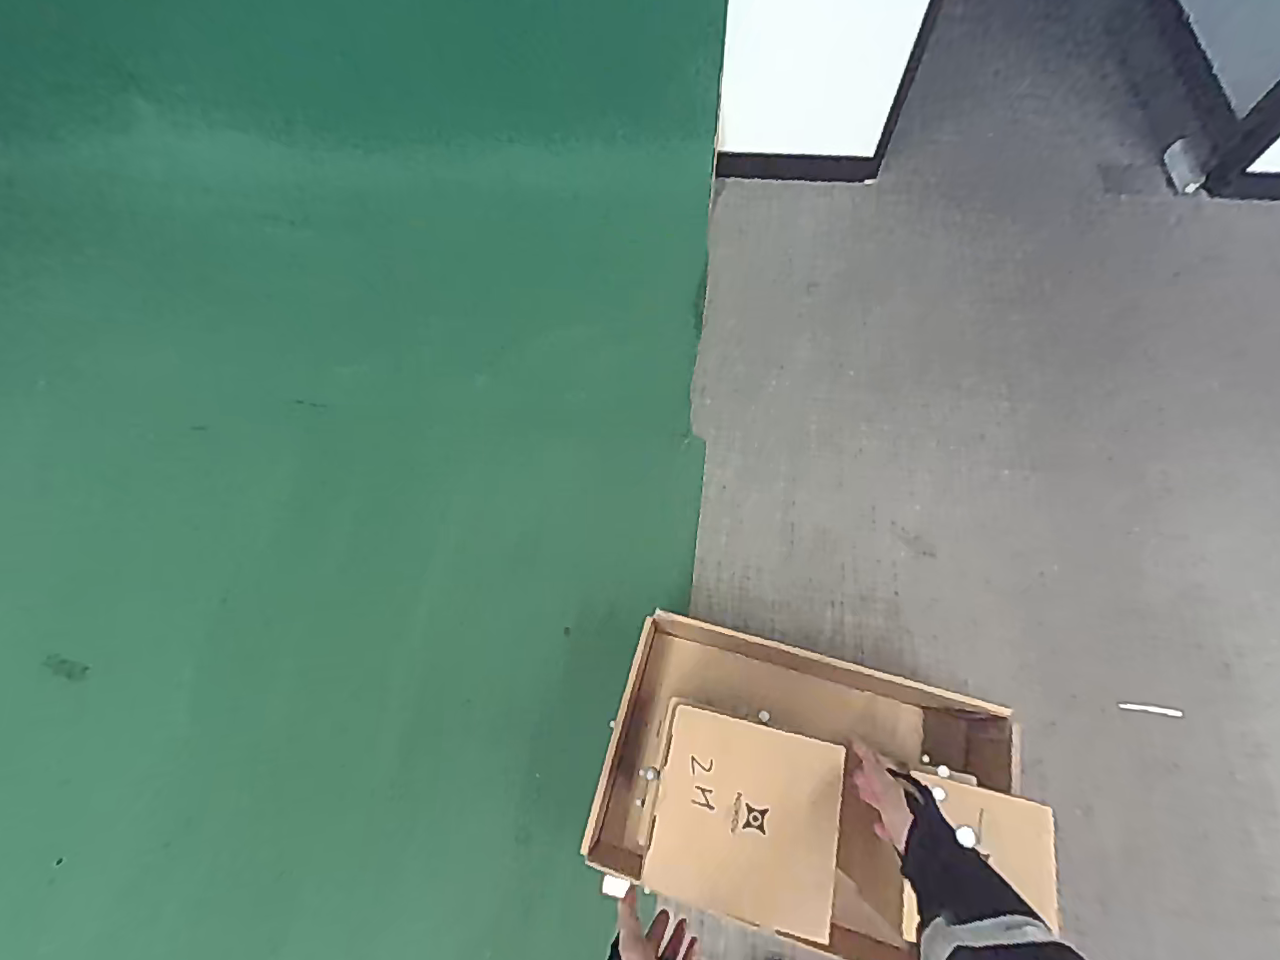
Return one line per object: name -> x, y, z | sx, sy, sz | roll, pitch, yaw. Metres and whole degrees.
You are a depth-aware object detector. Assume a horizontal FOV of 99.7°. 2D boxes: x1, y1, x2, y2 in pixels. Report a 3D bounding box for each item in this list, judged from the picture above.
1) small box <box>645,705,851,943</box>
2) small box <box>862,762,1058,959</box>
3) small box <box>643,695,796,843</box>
small box -> 0.110, 0.354, 0.595 | 0.179, 0.176, 0.168 | 13, 68, 7
small box -> 0.398, 0.483, 0.699 | 0.168, 0.176, 0.179 | 12, 67, 9
small box -> 0.104, 0.413, 0.750 | 0.168, 0.176, 0.179 | 13, 69, 8
